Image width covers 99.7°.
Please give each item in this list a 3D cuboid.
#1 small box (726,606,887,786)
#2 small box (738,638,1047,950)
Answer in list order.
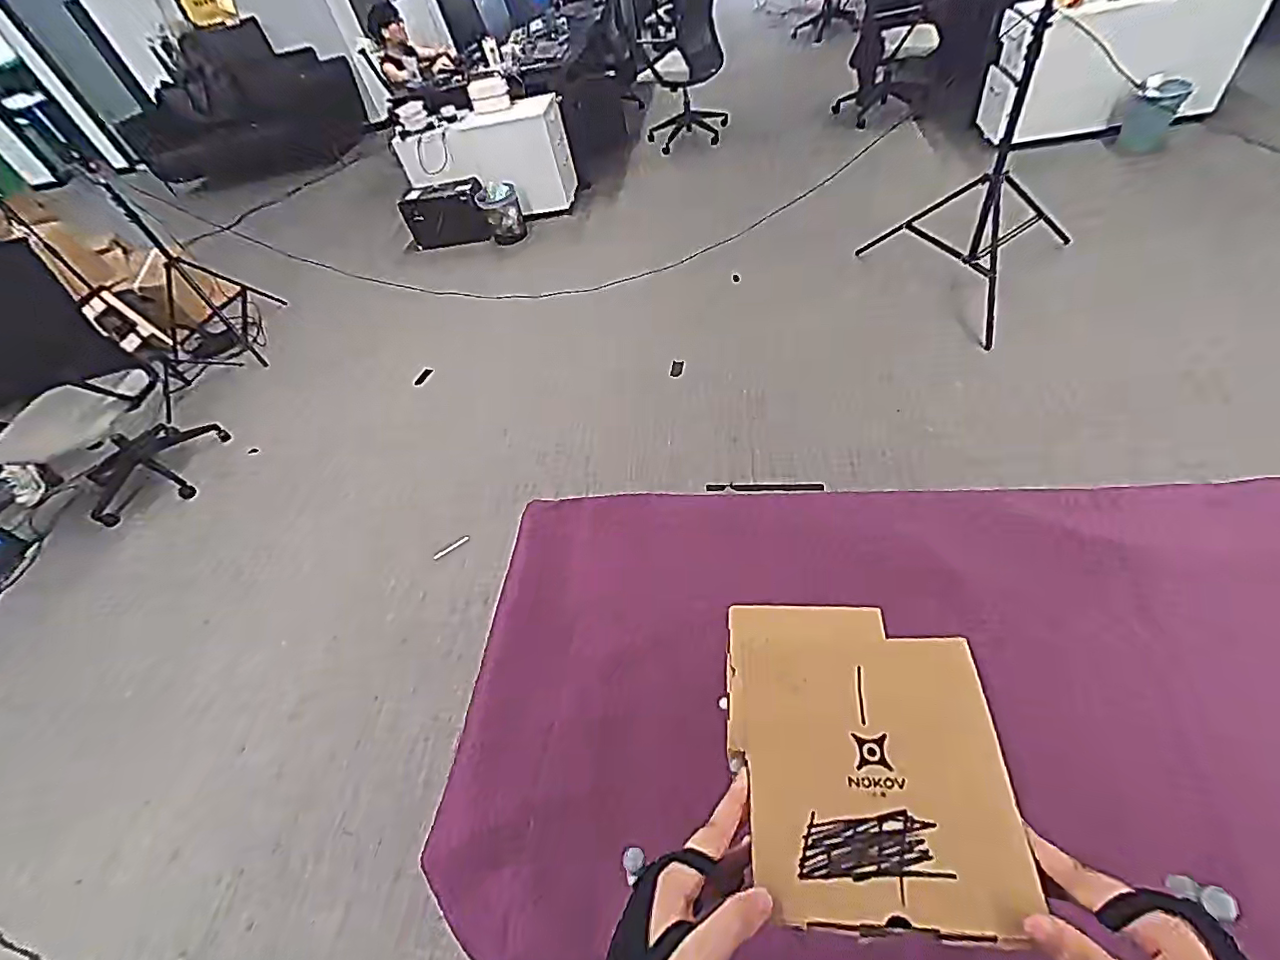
[{"bbox_3d":[0.196,0.265,0.645,0.179,0.176,0.168,-2,49,12],"label":"small box"},{"bbox_3d":[0.166,0.237,0.422,0.168,0.176,0.179,-3,53,10],"label":"small box"}]
